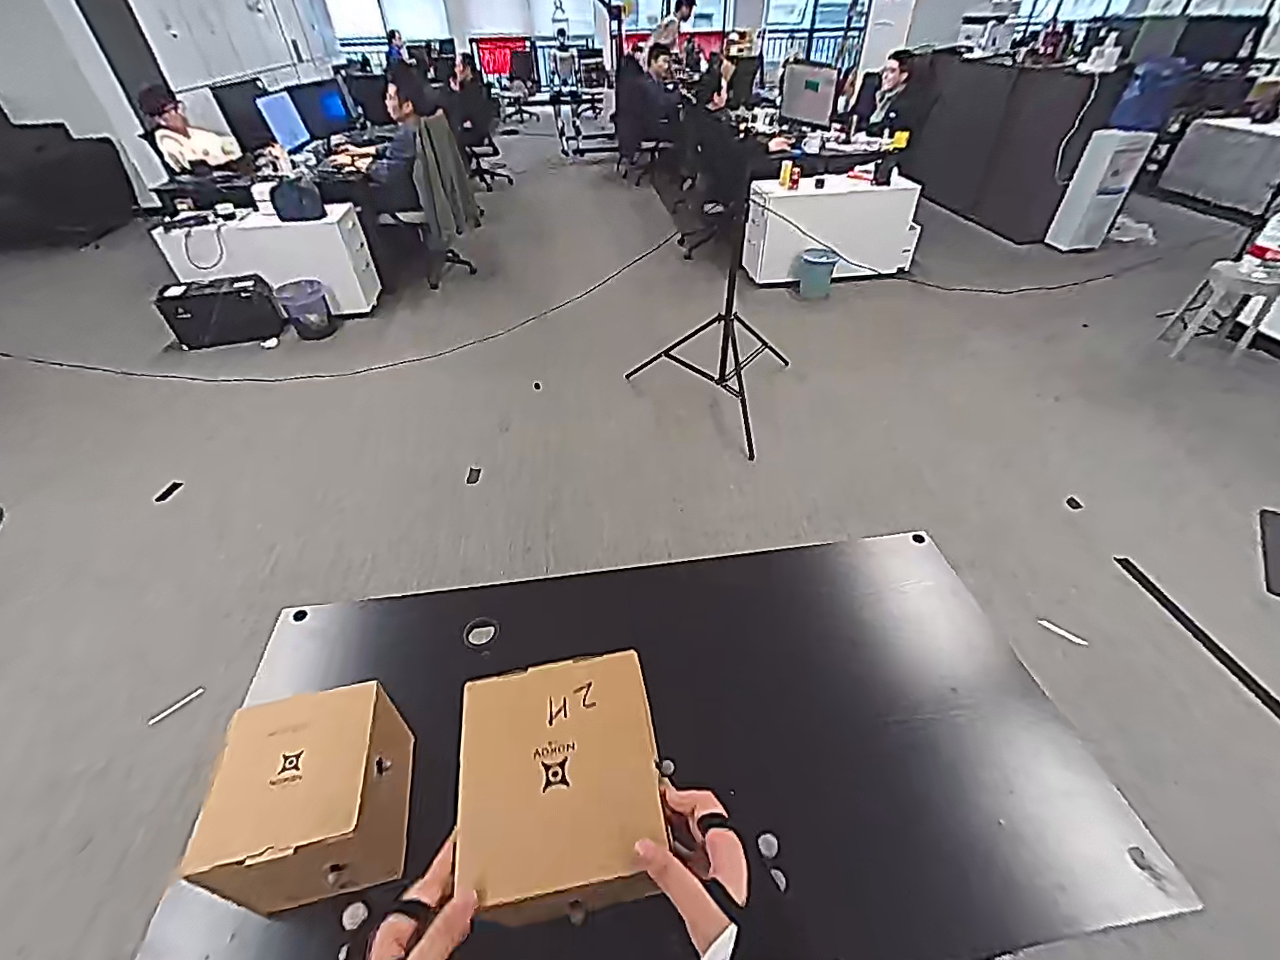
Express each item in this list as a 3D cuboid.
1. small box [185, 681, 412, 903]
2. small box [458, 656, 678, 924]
[{"bbox_3d":[-0.387,0.380,0.657,0.168,0.176,0.179,-9,41,-10],"label":"small box"},{"bbox_3d":[-0.062,0.298,0.515,0.168,0.176,0.179,-11,47,-3],"label":"small box"}]
